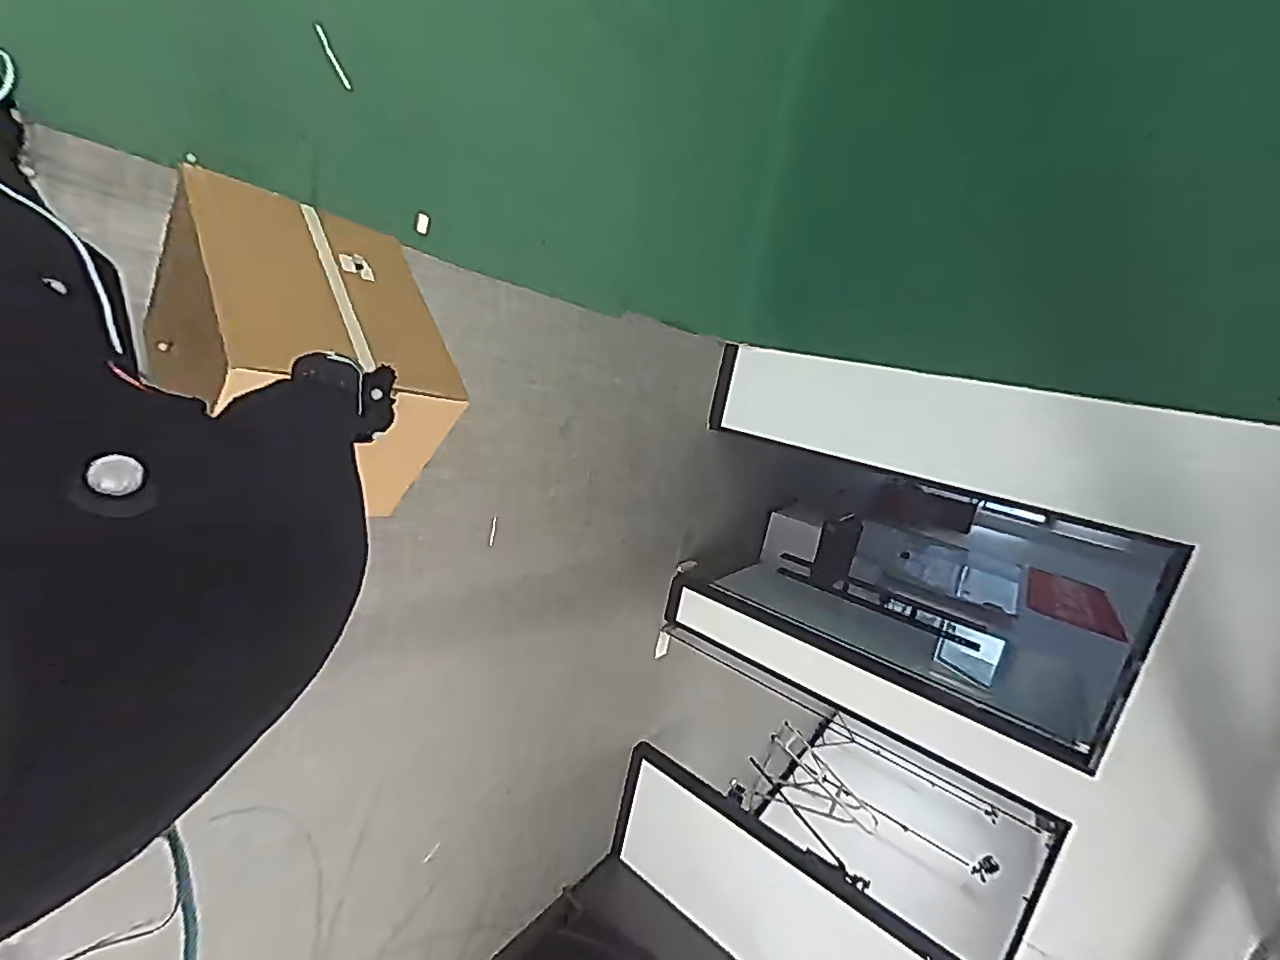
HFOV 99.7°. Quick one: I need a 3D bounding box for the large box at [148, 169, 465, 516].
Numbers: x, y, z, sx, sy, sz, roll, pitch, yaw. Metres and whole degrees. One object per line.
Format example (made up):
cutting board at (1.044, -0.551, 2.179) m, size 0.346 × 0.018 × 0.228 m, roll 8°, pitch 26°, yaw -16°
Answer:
large box at (-0.554, -0.193, 0.882) m, size 0.320 × 0.408 × 0.320 m, roll -43°, pitch 154°, yaw 28°
